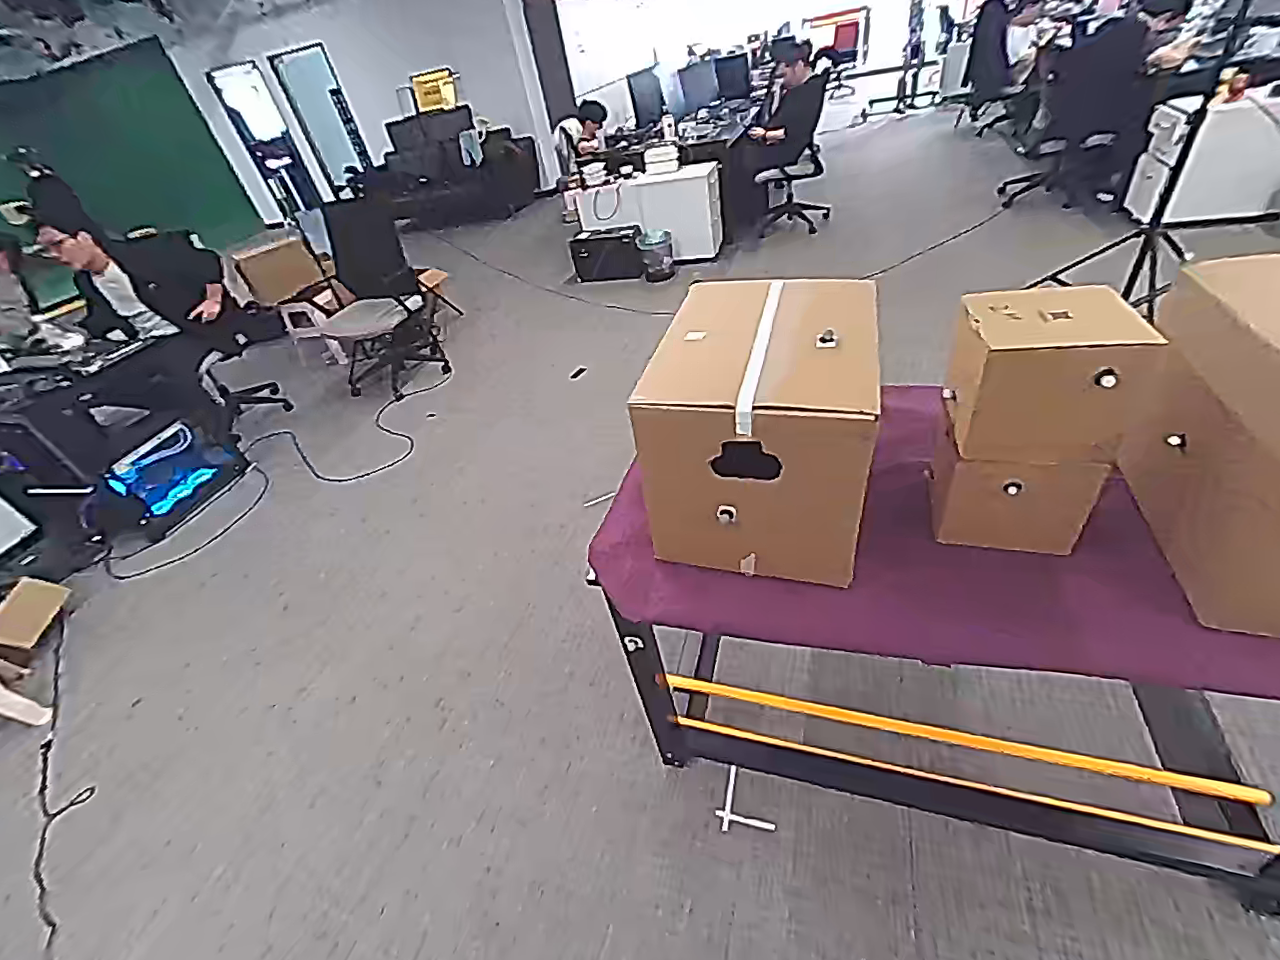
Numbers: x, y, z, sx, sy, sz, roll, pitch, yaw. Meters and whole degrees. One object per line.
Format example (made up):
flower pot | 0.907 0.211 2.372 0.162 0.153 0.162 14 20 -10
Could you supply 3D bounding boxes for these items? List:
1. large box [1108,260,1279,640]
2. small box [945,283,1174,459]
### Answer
large box | 0.866 -0.046 0.658 0.320 0.320 0.408 4 40 19
small box | 0.525 -0.140 0.711 0.179 0.176 0.168 1 40 17
